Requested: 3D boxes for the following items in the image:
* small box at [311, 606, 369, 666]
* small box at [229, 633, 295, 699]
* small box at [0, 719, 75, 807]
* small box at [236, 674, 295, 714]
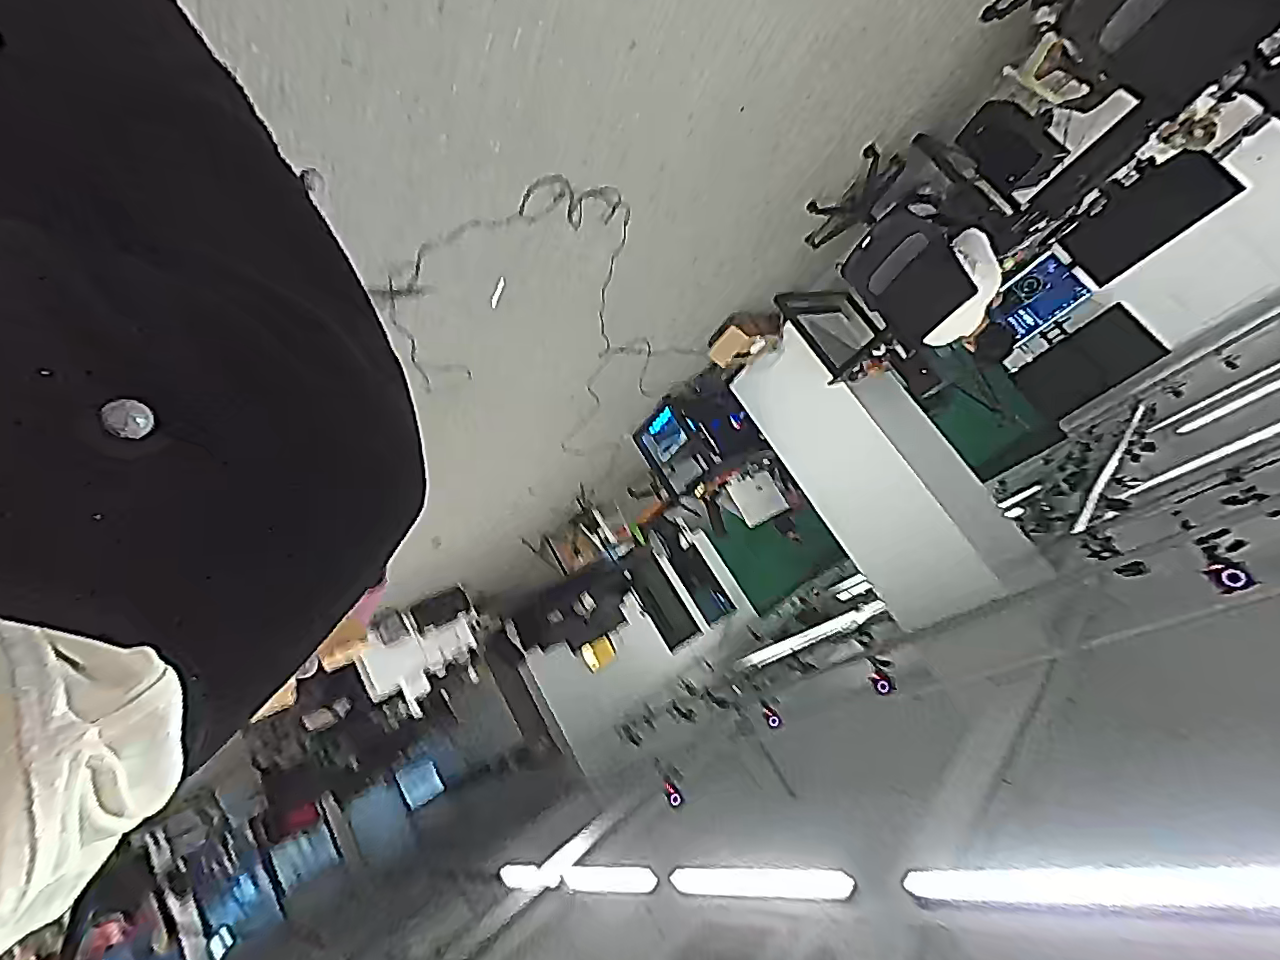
[{"bbox_3d":[-1.266,0.650,2.274,0.168,0.176,0.179,-20,163,-40],"label":"small box"},{"bbox_3d":[-1.458,0.715,2.090,0.168,0.176,0.179,-22,164,-38],"label":"small box"},{"bbox_3d":[-1.893,0.865,1.655,0.179,0.176,0.168,-21,162,-44],"label":"small box"},{"bbox_3d":[-1.591,0.860,2.293,0.168,0.176,0.179,-17,160,-44],"label":"small box"}]
